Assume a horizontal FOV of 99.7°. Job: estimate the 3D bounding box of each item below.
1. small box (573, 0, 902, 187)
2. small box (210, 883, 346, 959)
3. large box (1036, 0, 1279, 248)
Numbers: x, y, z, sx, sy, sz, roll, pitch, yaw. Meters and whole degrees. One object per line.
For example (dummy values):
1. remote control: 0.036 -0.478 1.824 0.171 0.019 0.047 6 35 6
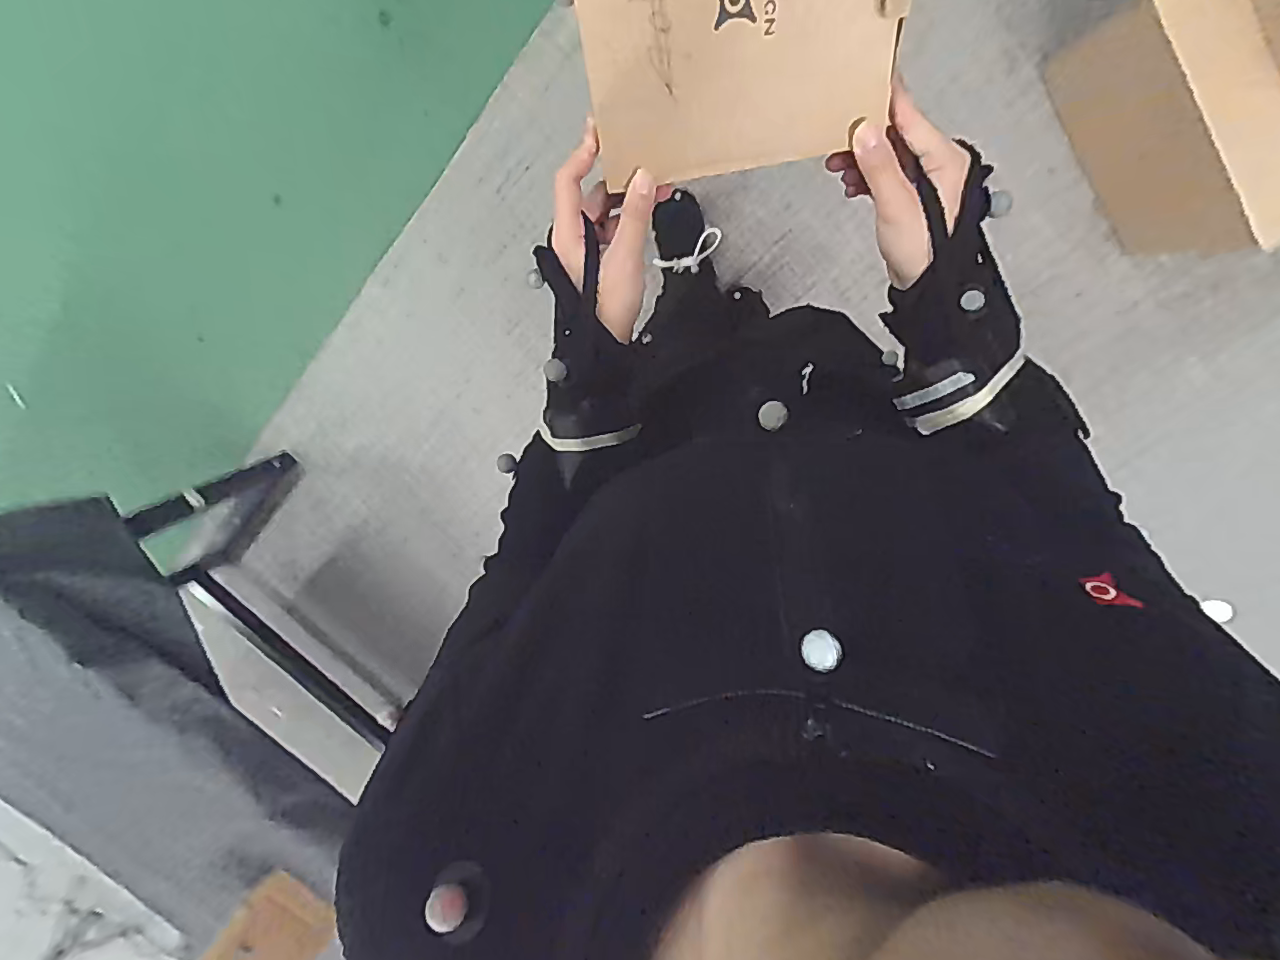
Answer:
1. small box: 0.049 -0.309 0.340 0.179 0.176 0.168 -8 132 5
2. small box: -0.728 0.948 1.064 0.179 0.176 0.168 45 113 -6
3. large box: 0.926 -0.627 0.831 0.320 0.320 0.408 -34 102 22
